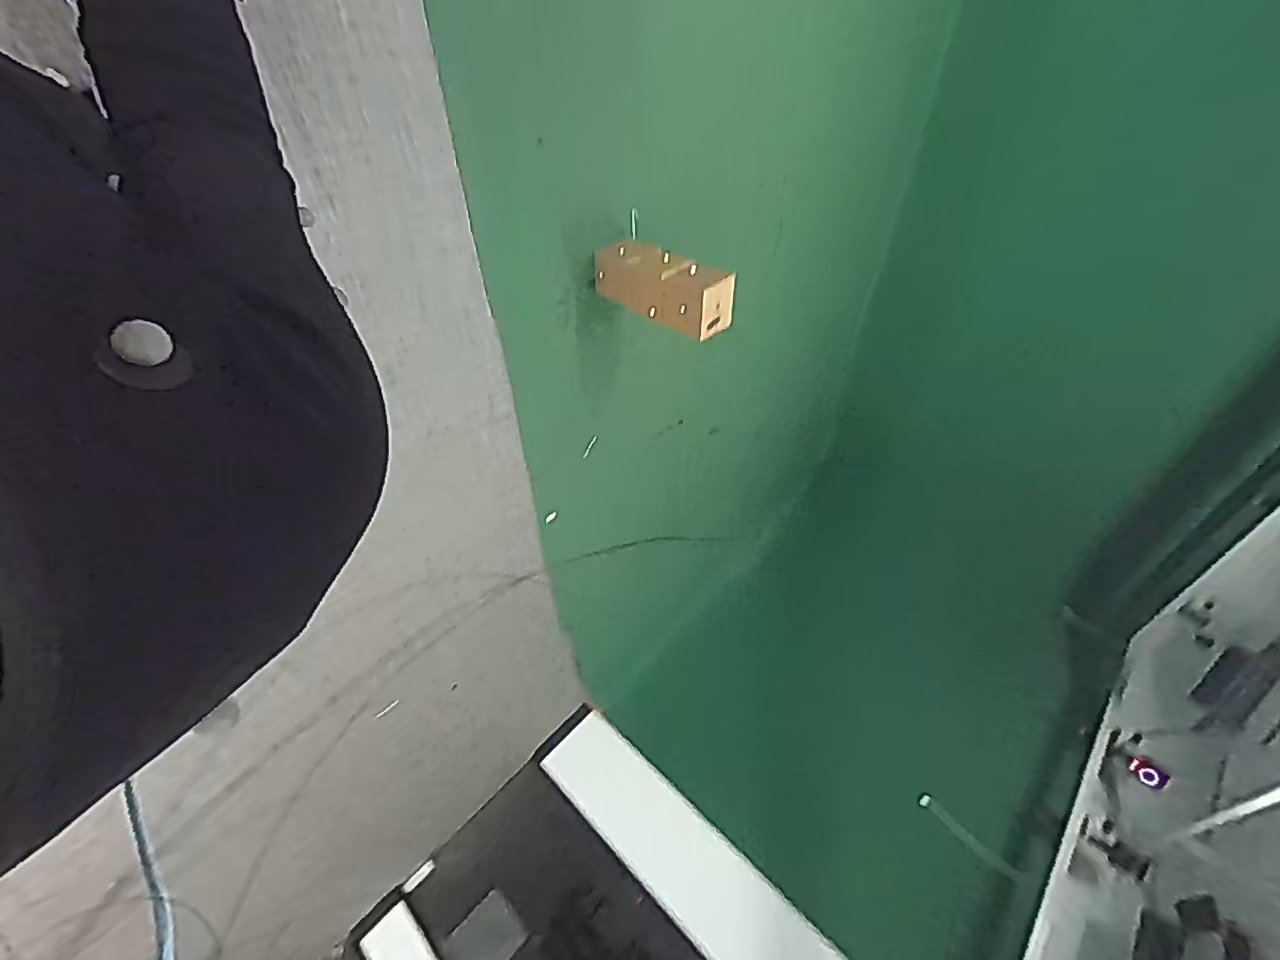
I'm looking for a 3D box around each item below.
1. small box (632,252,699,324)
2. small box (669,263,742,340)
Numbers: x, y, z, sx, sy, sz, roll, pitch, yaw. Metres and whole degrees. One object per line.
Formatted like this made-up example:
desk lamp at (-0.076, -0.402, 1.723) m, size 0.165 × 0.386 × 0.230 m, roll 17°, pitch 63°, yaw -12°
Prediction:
small box at (0.085, -0.672, 1.871) m, size 0.168 × 0.176 × 0.179 m, roll -35°, pitch 143°, yaw -31°
small box at (0.212, -0.595, 1.794) m, size 0.168 × 0.176 × 0.179 m, roll -36°, pitch 144°, yaw -33°
